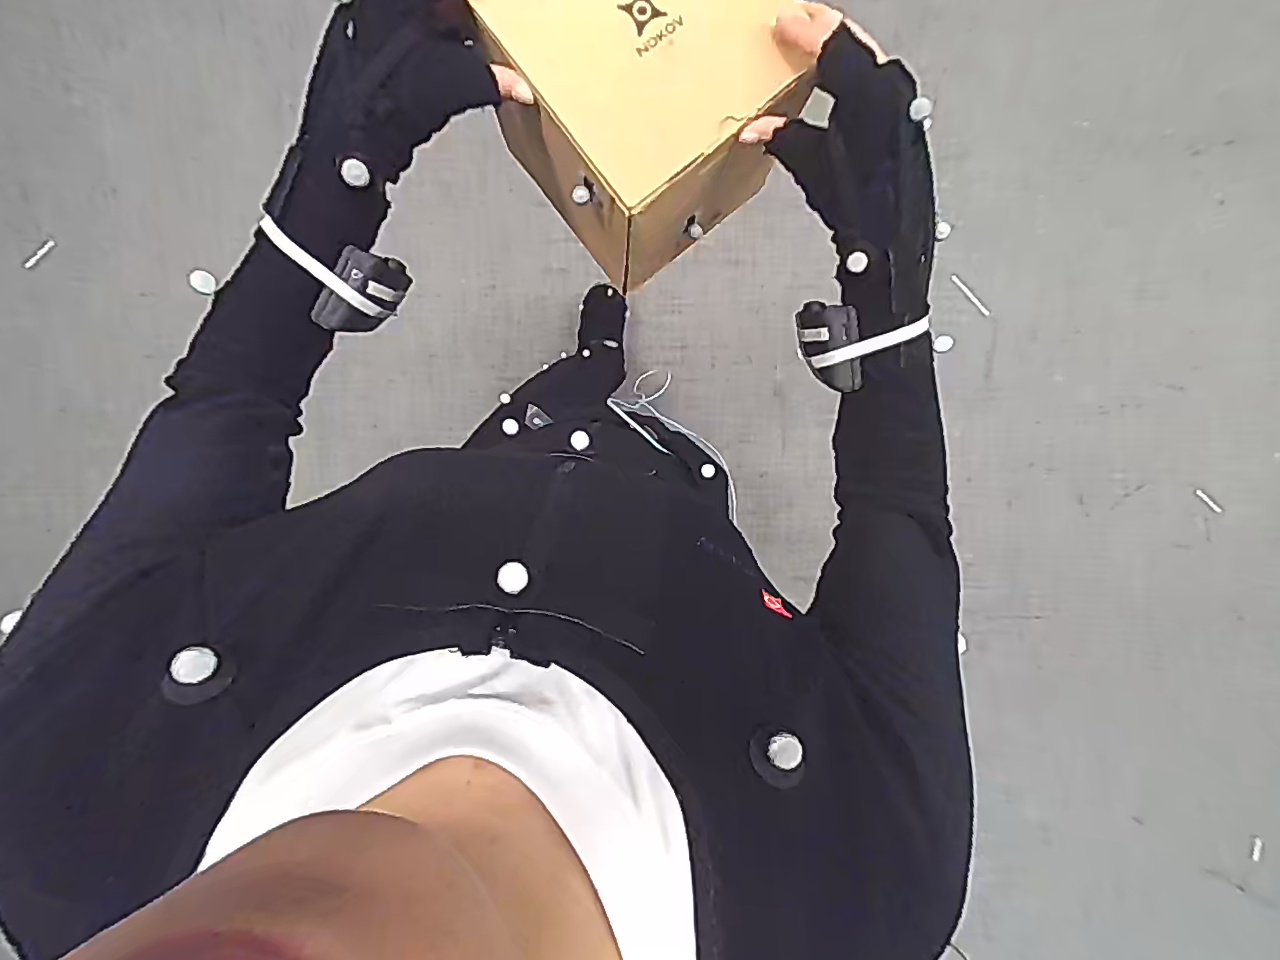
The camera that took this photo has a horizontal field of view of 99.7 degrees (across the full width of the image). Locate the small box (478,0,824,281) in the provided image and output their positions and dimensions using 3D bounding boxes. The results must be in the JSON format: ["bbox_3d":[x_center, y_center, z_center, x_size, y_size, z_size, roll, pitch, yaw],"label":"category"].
[{"bbox_3d":[0.000,-0.293,0.424,0.168,0.176,0.179,-38,95,-3],"label":"small box"}]
